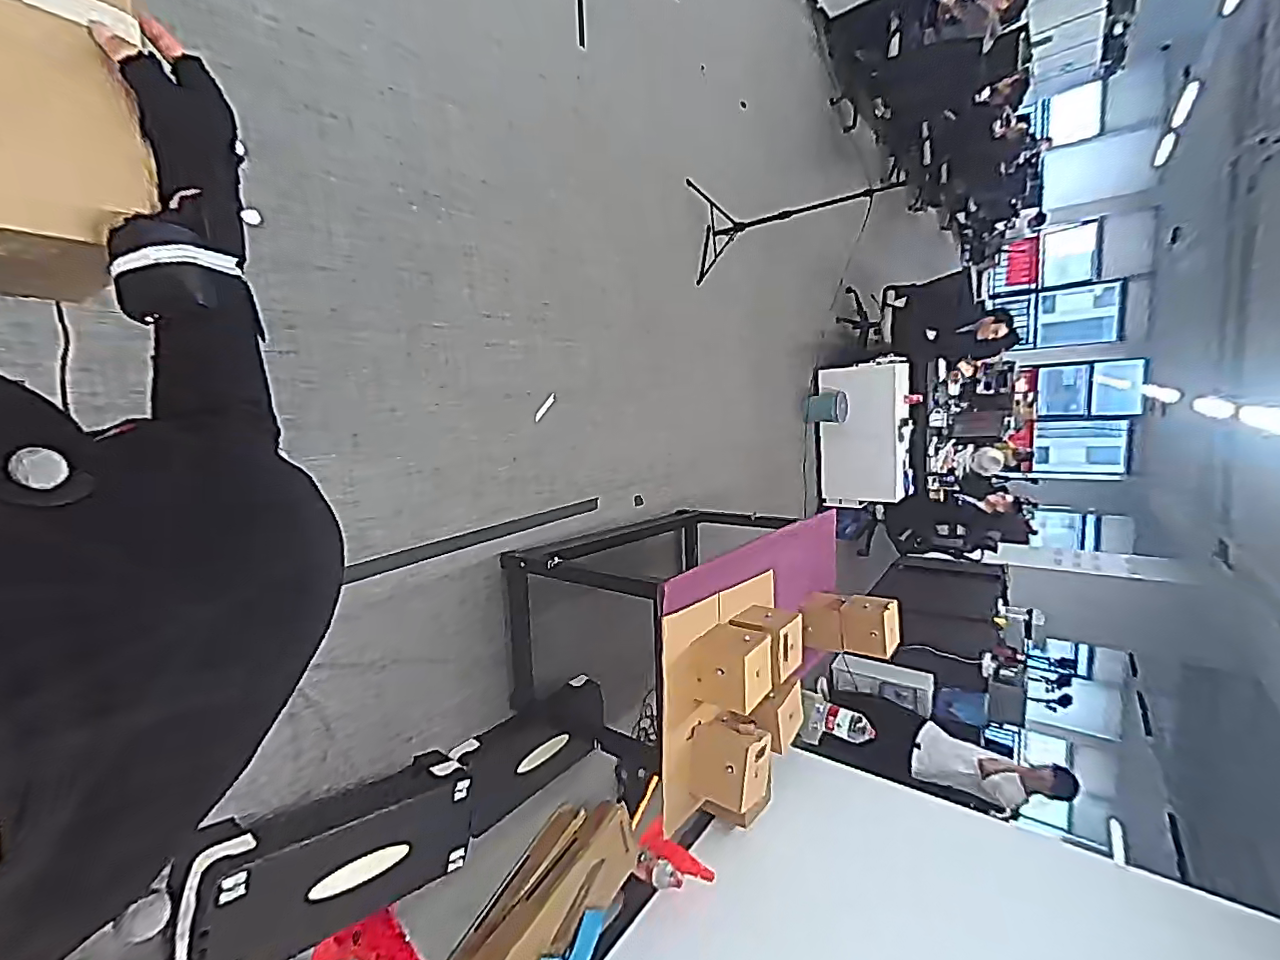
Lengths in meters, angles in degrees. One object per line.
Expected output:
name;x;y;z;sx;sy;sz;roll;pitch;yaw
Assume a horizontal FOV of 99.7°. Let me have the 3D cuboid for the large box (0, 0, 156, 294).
large box;-0.626;-0.319;0.337;0.408;0.320;0.320;-11;104;-54
